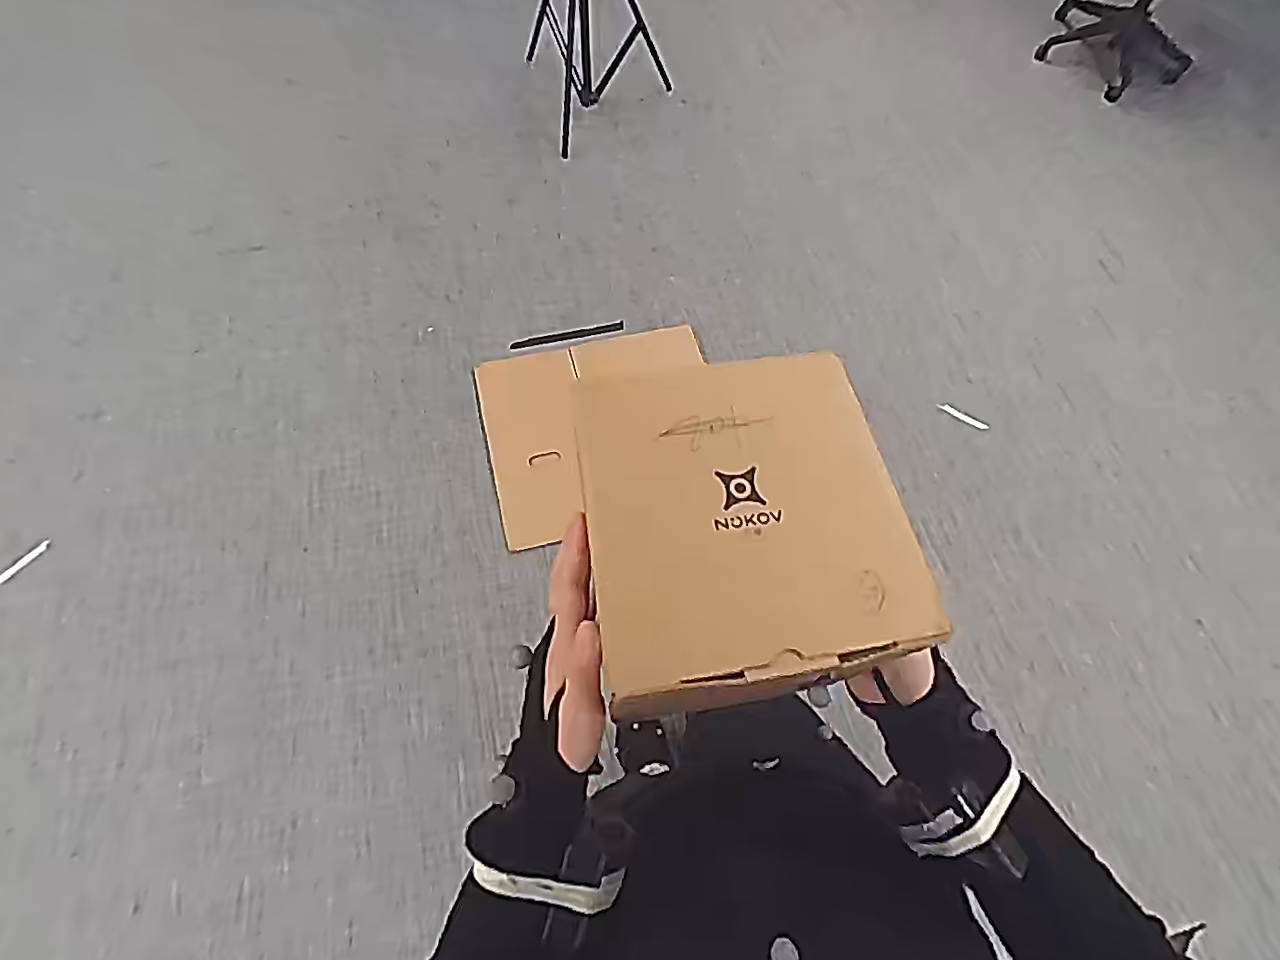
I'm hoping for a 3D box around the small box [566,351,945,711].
[{"bbox_3d":[0.047,0.044,0.353,0.168,0.176,0.179,-8,62,-8],"label":"small box"}]
